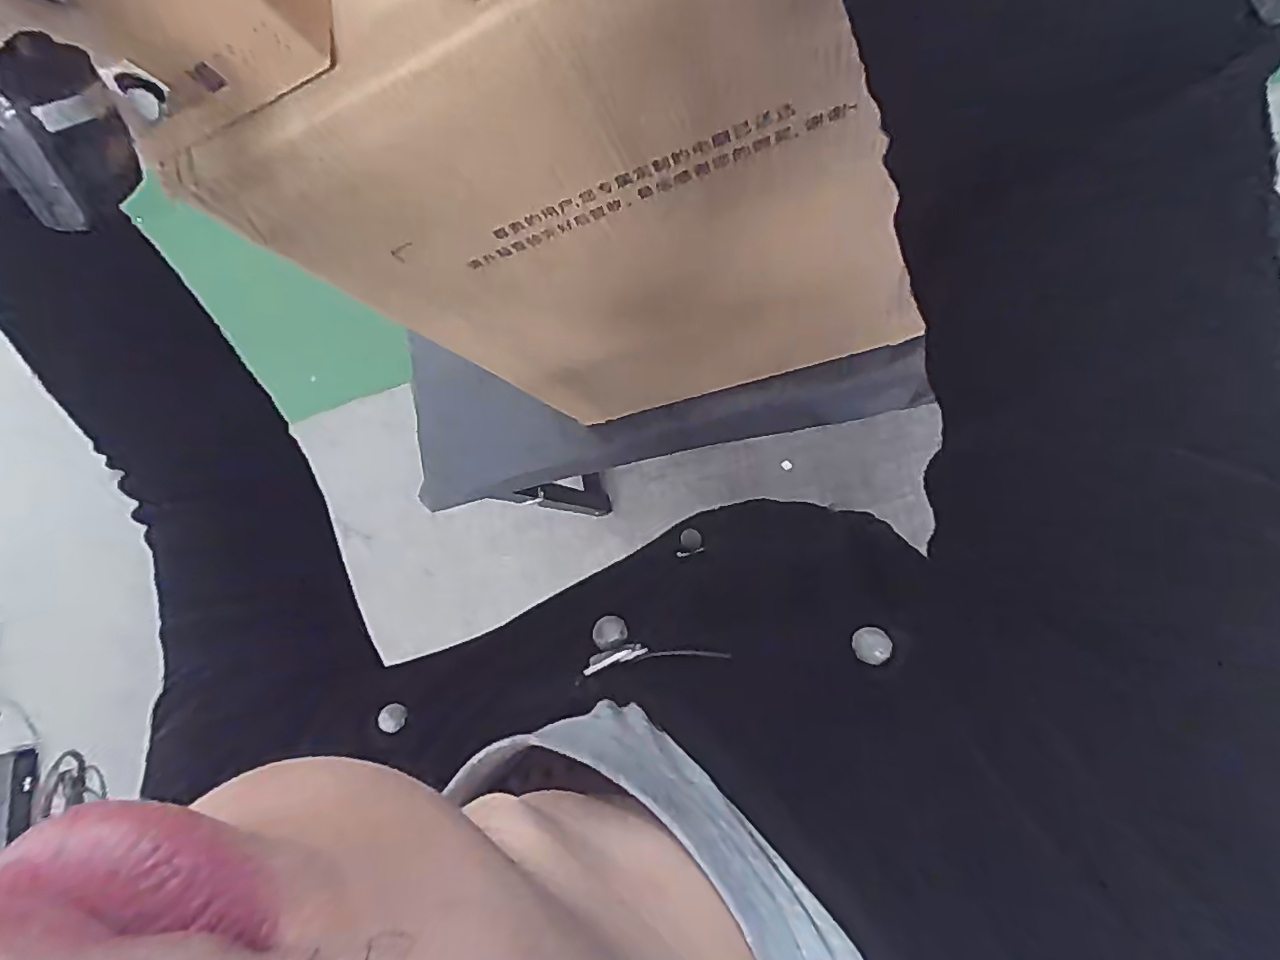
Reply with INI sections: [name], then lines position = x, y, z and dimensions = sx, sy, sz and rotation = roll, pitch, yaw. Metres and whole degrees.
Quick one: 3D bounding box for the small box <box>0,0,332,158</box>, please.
[small box]
position = -0.277, -0.304, 0.252
dimensions = 0.168, 0.176, 0.179
rotation = -13, 80, 20
